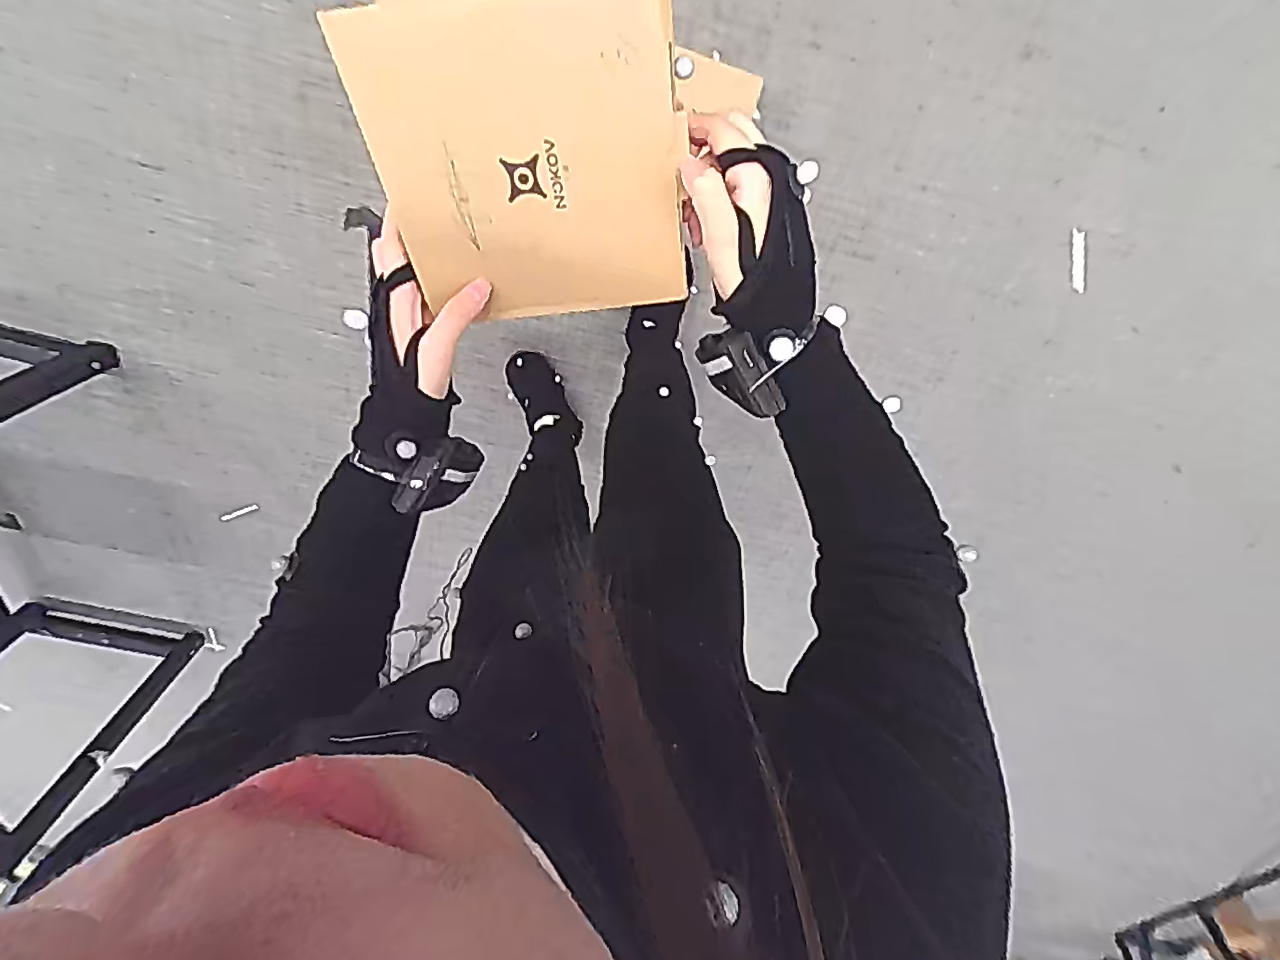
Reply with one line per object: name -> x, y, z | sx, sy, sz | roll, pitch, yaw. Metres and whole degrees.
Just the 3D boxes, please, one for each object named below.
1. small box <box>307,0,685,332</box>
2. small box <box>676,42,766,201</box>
small box -> -0.066, -0.218, 0.360 | 0.179, 0.176, 0.168 | -4, 131, 4
small box -> 0.093, -0.606, 0.919 | 0.168, 0.176, 0.179 | 16, 125, -8
